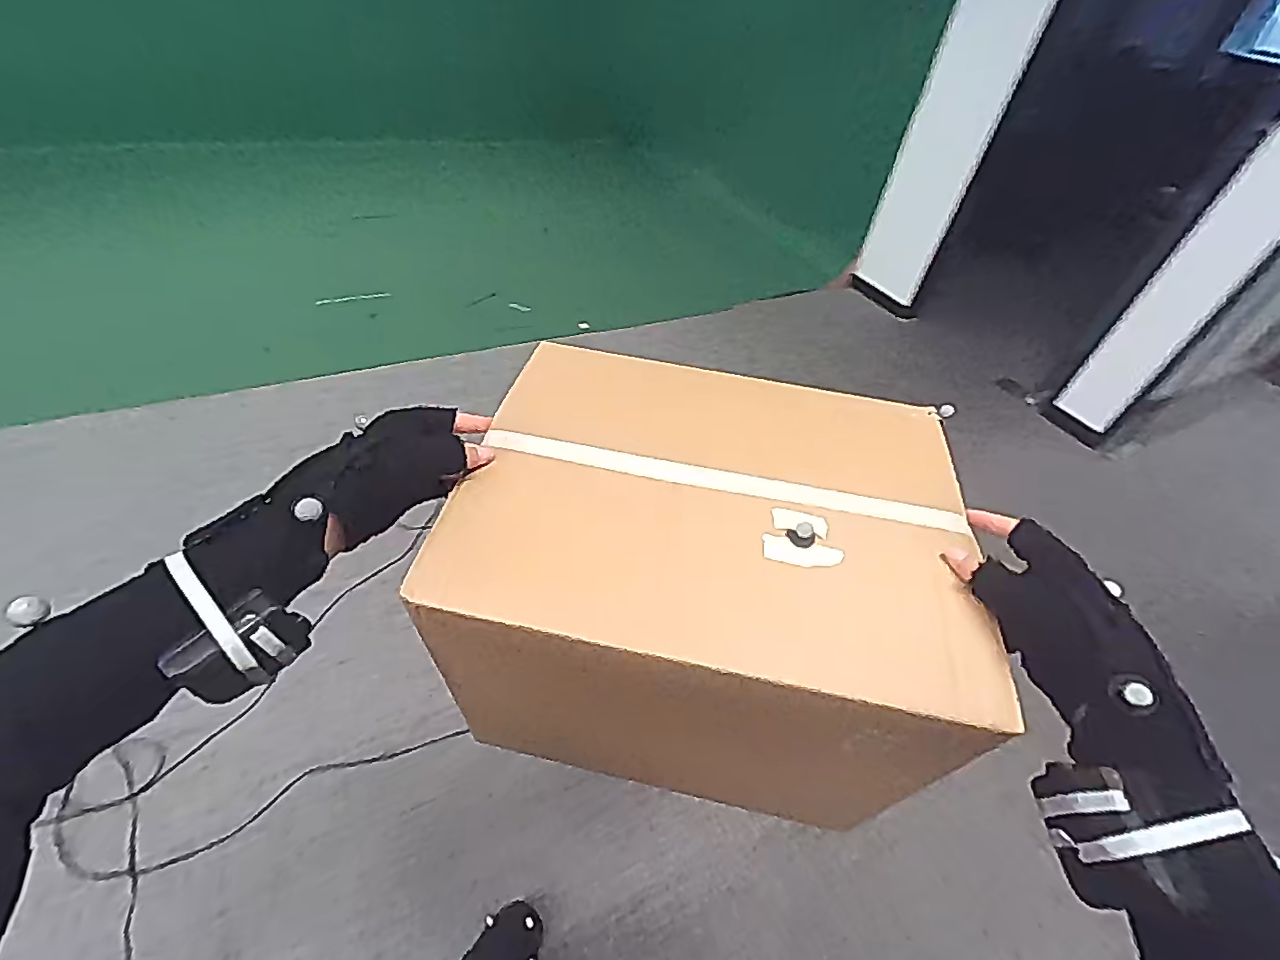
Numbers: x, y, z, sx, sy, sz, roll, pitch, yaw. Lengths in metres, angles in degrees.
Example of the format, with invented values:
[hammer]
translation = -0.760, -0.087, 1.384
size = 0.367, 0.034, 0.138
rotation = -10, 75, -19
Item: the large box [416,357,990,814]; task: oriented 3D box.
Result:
[large box]
translation = 0.048, 0.110, 0.572
size = 0.408, 0.320, 0.320
rotation = 11, 48, 4
